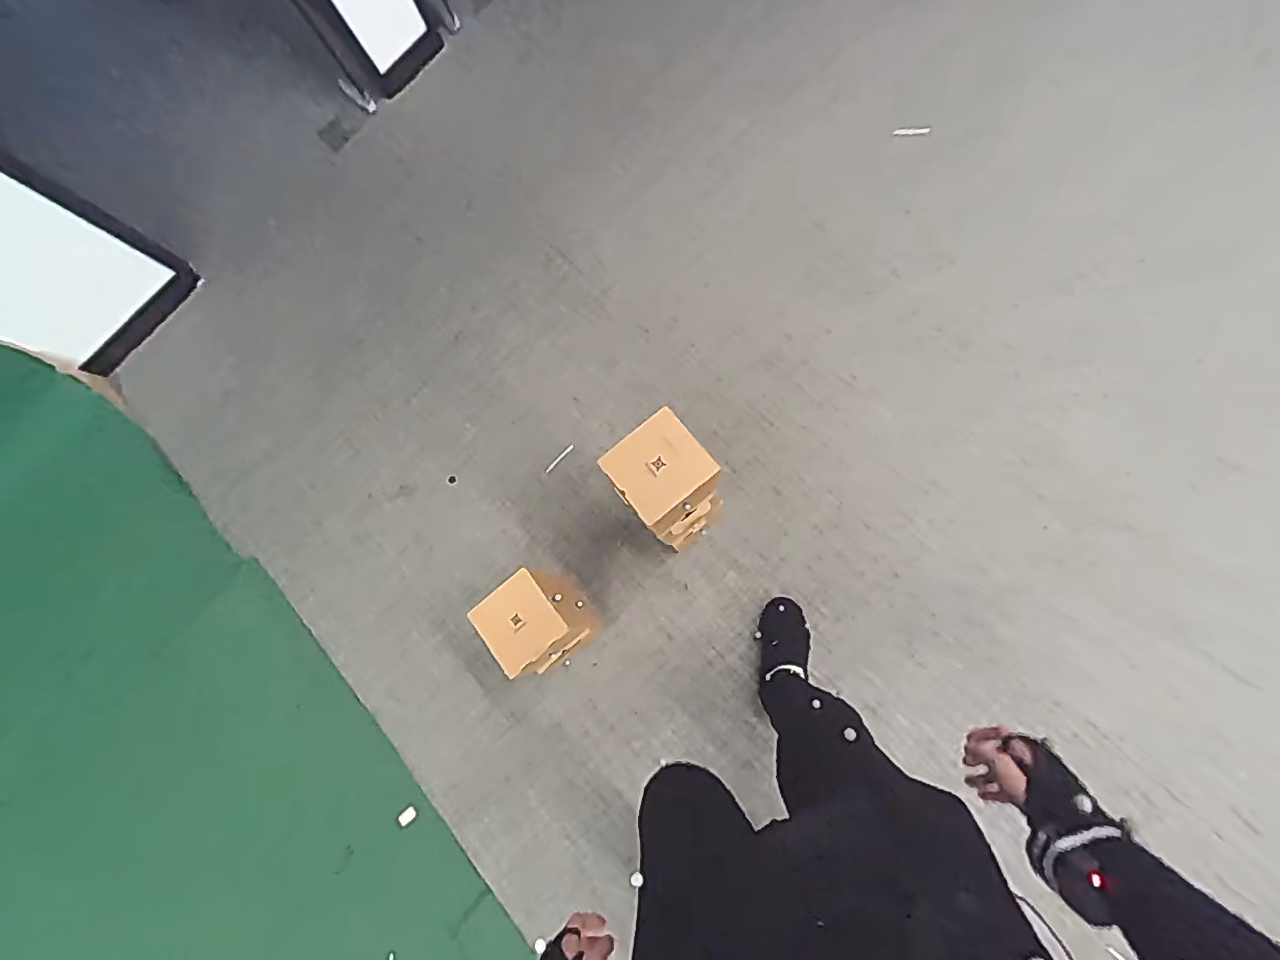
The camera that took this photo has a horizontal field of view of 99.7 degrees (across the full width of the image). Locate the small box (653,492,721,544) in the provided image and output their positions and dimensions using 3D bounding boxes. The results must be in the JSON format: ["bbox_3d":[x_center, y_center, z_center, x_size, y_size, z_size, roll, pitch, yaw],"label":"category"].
[{"bbox_3d":[0.070,0.032,1.249,0.168,0.176,0.179,-38,75,1],"label":"small box"}]

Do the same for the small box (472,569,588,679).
[{"bbox_3d":[-0.246,0.327,1.243,0.168,0.176,0.179,-40,76,-1],"label":"small box"}]

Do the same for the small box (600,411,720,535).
[{"bbox_3d":[0.049,-0.004,1.091,0.179,0.176,0.168,-39,76,0],"label":"small box"}]

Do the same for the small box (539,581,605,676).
[{"bbox_3d":[-0.212,0.377,1.411,0.168,0.176,0.179,-40,75,-1],"label":"small box"}]

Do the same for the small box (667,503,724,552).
[{"bbox_3d":[0.102,0.072,1.406,0.168,0.176,0.179,-42,76,-1],"label":"small box"}]
